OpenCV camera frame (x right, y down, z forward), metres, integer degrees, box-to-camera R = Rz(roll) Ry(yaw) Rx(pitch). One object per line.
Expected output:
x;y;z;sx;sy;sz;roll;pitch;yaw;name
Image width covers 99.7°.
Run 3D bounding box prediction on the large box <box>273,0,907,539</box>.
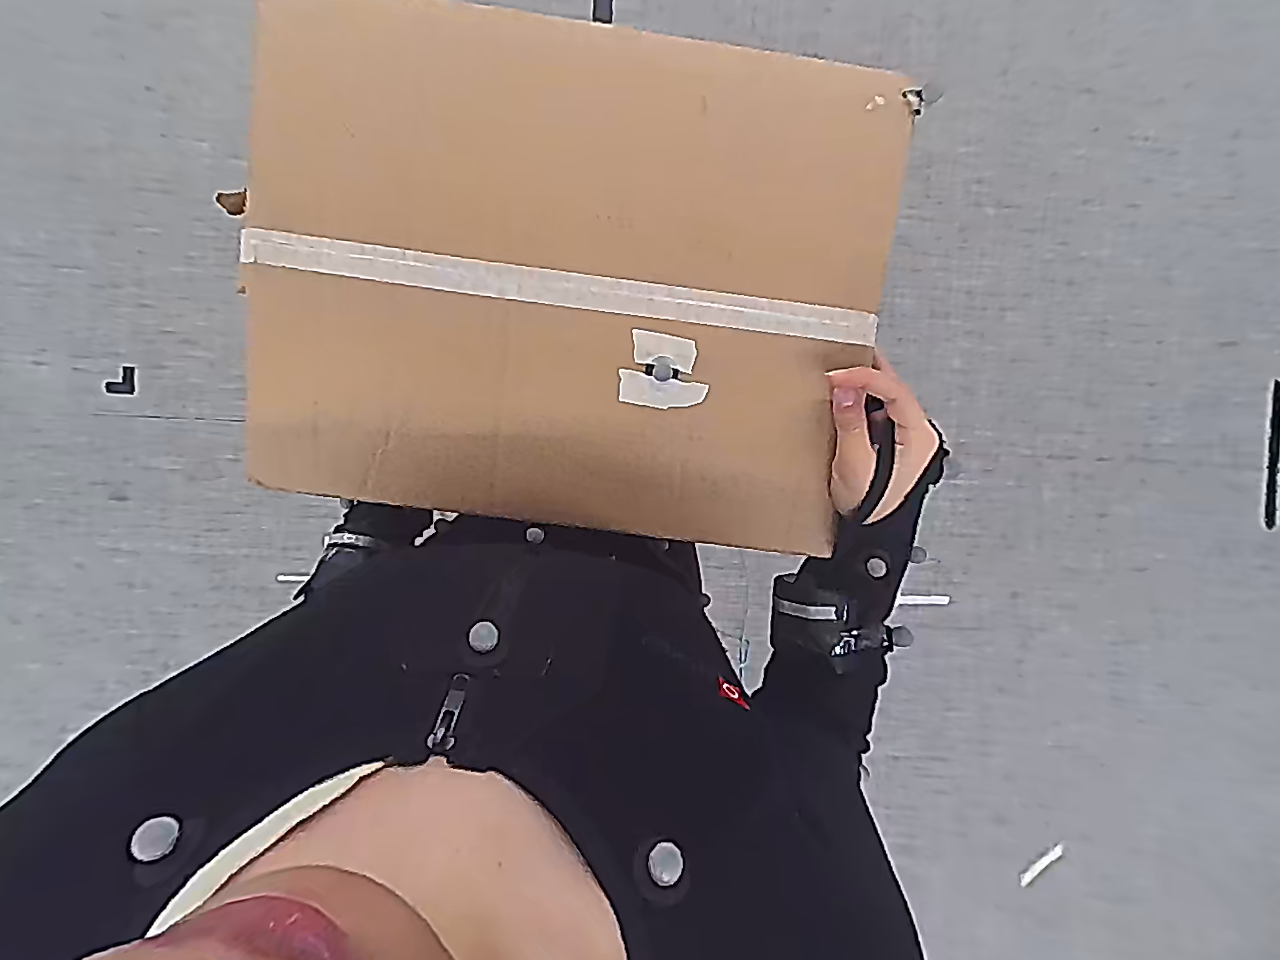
-0.046;-0.147;0.507;0.408;0.320;0.320;7;99;-3;large box
